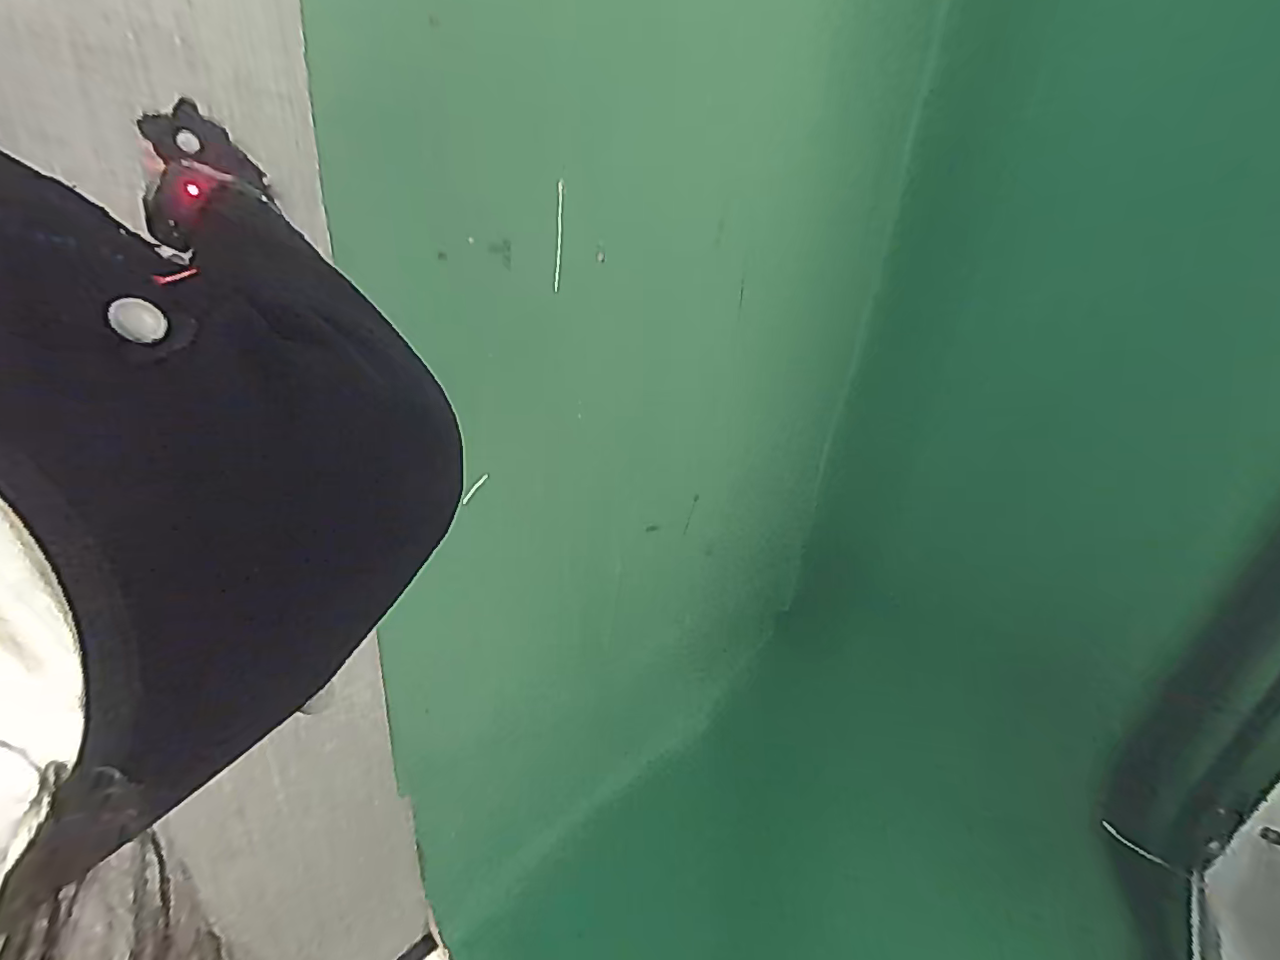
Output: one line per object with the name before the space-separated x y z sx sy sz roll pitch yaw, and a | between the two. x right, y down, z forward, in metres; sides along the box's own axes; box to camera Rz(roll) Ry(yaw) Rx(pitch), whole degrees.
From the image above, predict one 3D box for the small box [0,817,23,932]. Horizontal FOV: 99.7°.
small box | -1.370 0.816 1.063 0.179 0.176 0.168 -20 124 -43
